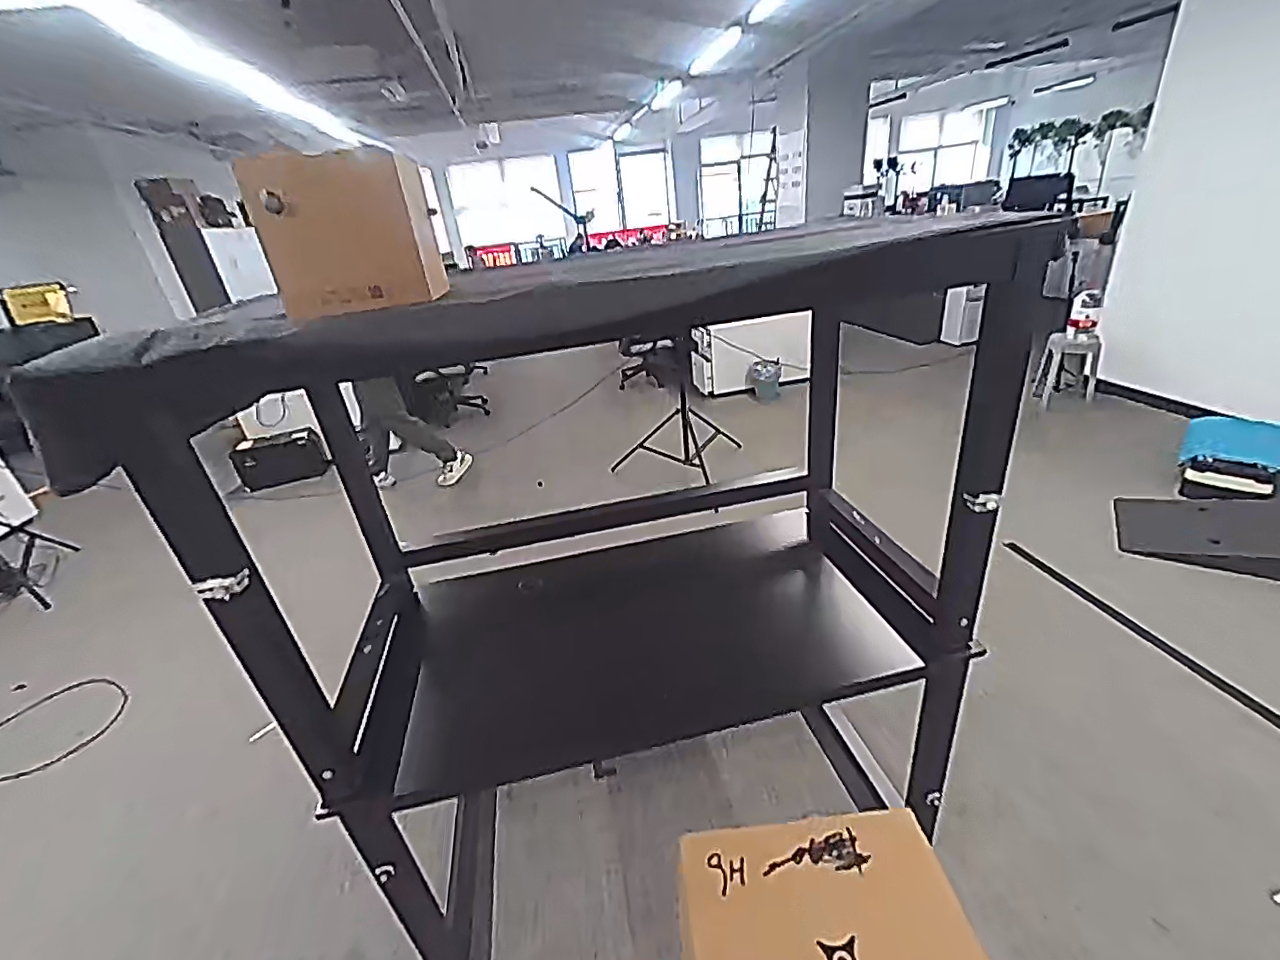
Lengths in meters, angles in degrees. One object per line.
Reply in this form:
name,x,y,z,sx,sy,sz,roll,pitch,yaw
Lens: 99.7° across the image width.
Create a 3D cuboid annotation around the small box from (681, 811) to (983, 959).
small box,0.119,0.352,0.346,0.168,0.176,0.179,-4,31,-4
